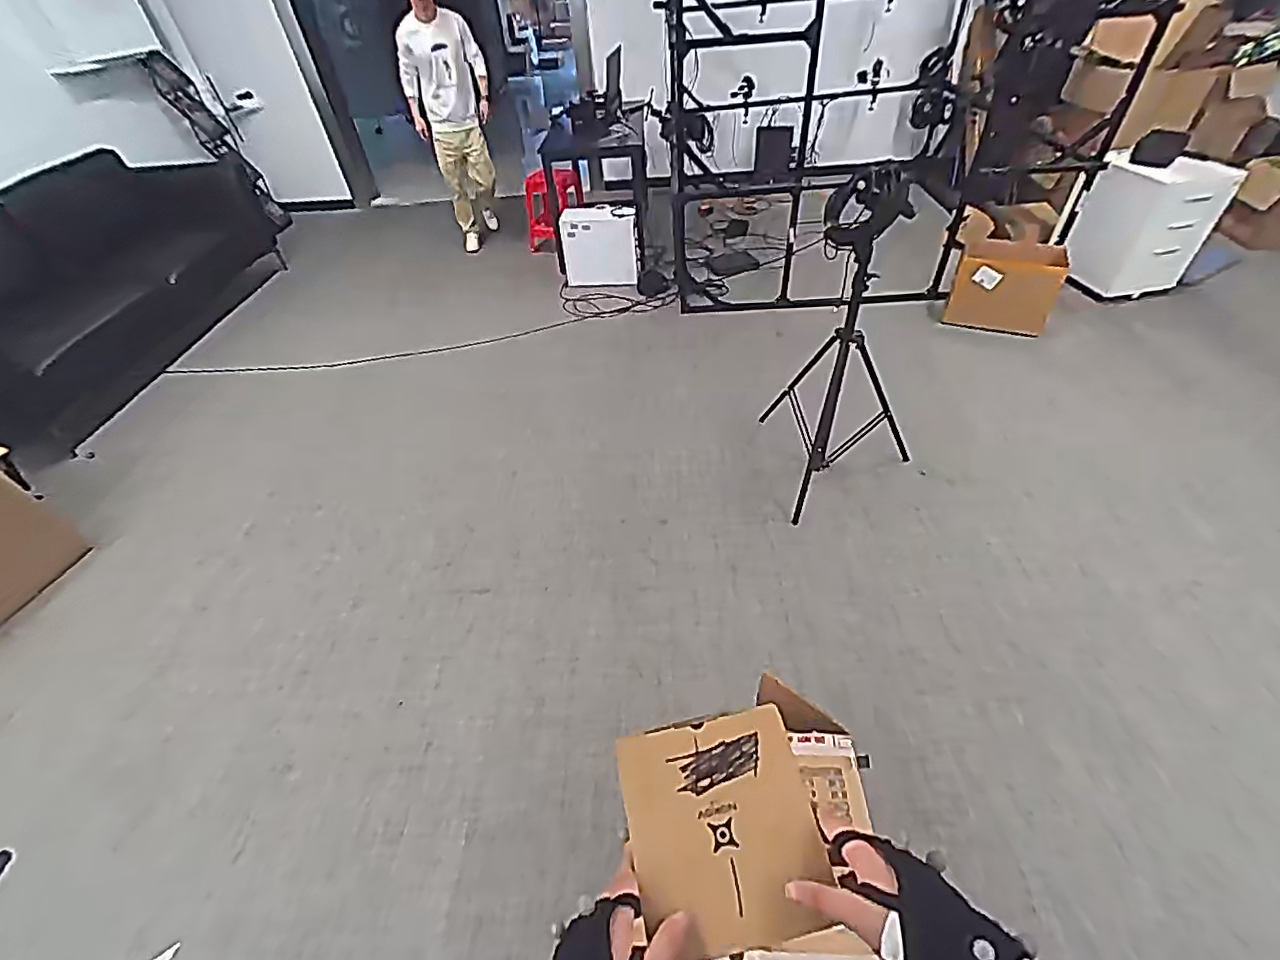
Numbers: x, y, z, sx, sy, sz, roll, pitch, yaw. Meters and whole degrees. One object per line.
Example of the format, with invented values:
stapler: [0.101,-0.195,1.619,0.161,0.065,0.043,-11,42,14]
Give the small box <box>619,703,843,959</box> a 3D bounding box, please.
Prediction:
small box: [0.074,0.351,0.548,0.168,0.176,0.179,-10,53,-4]
